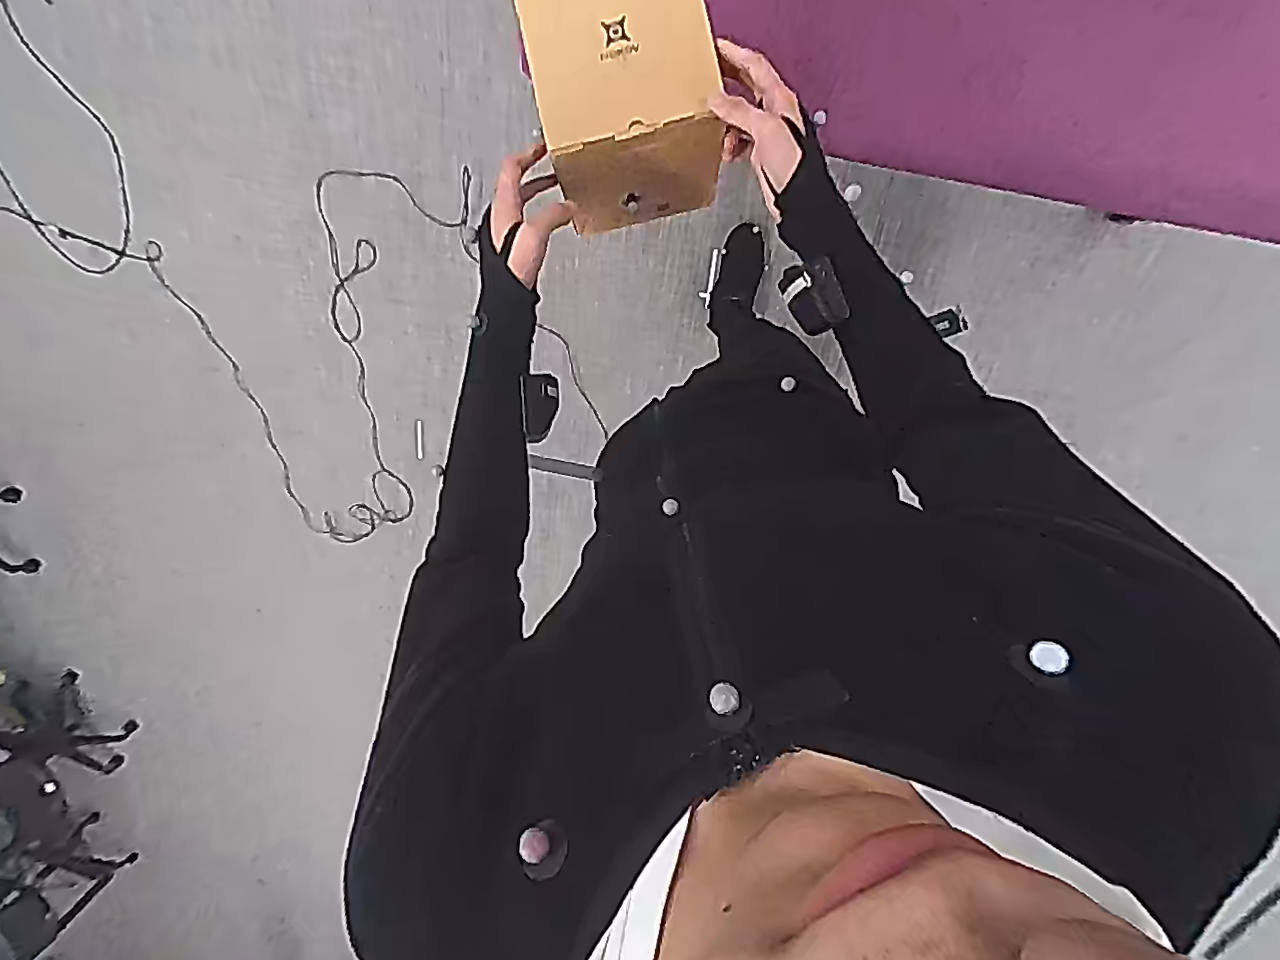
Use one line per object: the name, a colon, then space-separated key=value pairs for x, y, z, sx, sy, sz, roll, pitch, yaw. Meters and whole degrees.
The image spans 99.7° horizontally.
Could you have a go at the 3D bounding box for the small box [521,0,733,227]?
small box: x=-0.013 y=-0.393 z=0.549 sx=0.168 sy=0.176 sz=0.179 roll=-13 pitch=90 yaw=3
